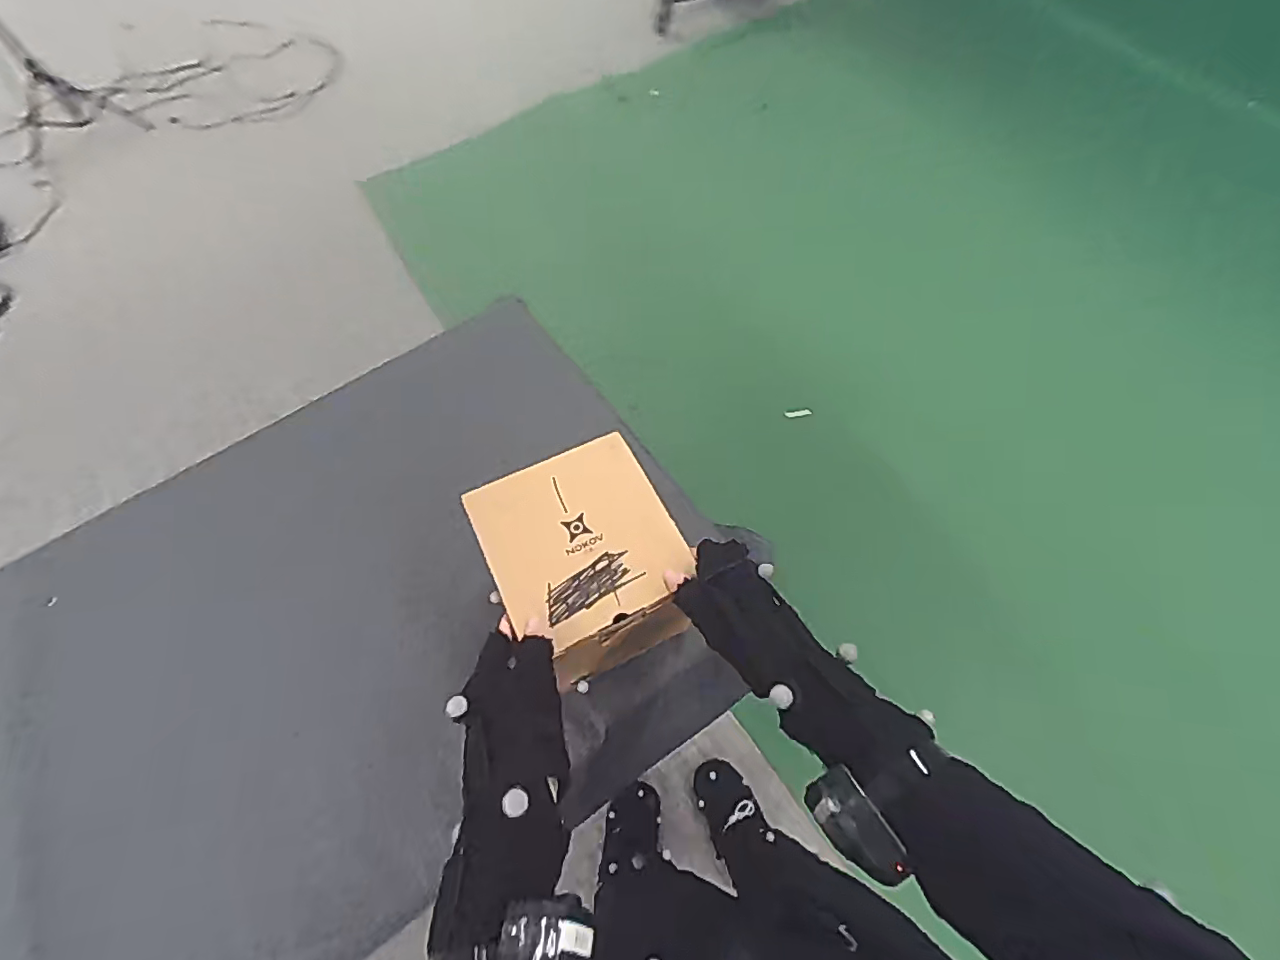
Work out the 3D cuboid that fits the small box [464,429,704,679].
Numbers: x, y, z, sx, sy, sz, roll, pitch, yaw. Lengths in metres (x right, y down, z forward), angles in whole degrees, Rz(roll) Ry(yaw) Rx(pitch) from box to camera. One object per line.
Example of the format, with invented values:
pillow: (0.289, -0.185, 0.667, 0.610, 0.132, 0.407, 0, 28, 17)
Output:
small box: (-0.054, 0.085, 0.548, 0.168, 0.176, 0.179, -23, 64, -14)
